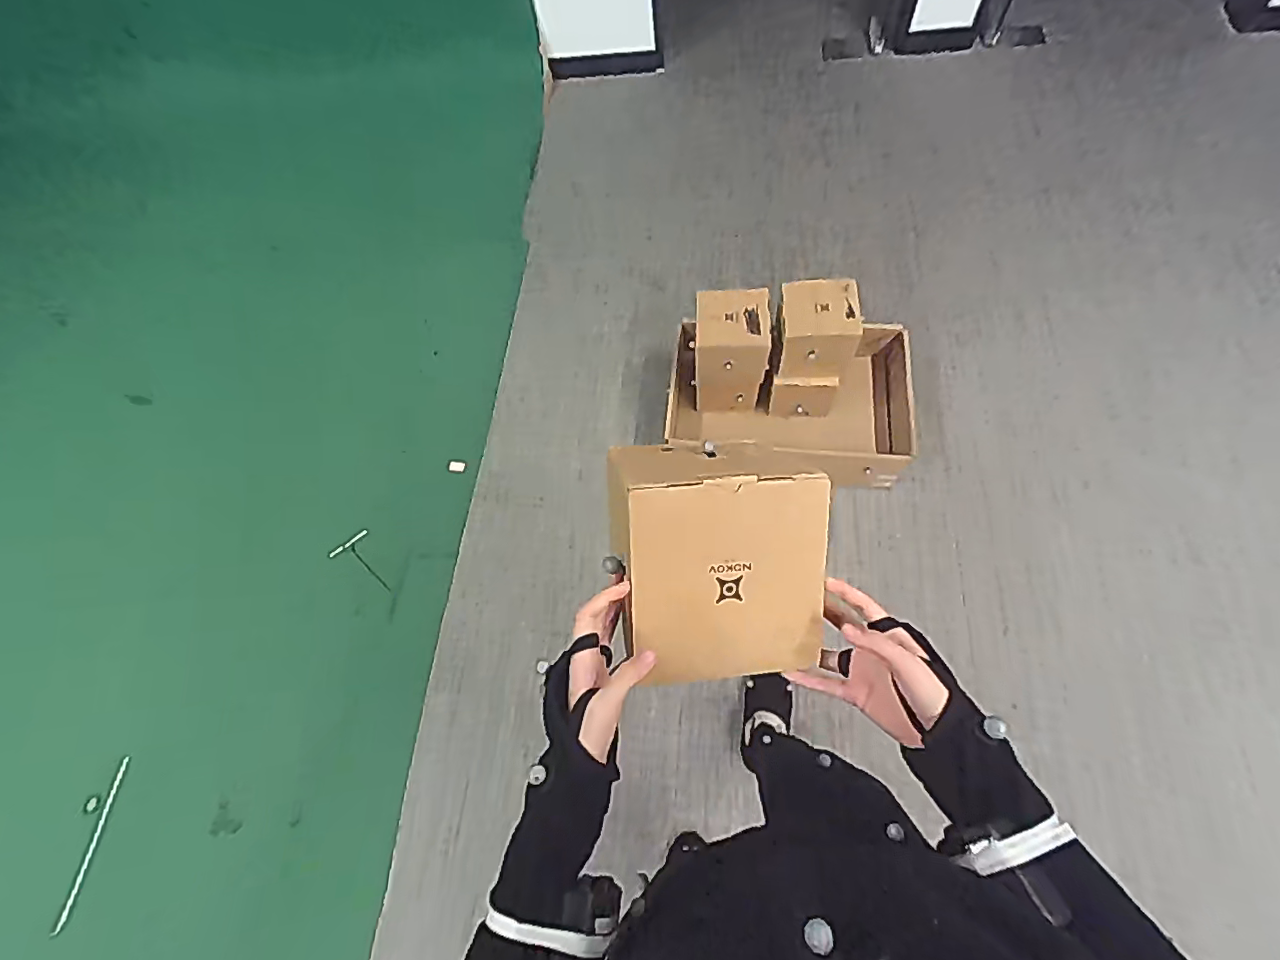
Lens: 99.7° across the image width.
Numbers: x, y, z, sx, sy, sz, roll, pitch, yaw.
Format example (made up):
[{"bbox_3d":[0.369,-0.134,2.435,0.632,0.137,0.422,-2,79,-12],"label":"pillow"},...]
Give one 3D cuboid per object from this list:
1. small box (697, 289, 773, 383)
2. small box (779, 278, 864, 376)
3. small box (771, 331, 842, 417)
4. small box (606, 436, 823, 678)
[{"bbox_3d":[0.232,-0.354,1.353,0.179,0.176,0.168,0,69,8],"label":"small box"},{"bbox_3d":[0.437,-0.370,1.332,0.179,0.176,0.168,-1,68,9],"label":"small box"},{"bbox_3d":[0.450,-0.292,1.477,0.168,0.176,0.179,3,69,11],"label":"small box"},{"bbox_3d":[0.058,0.060,0.519,0.168,0.176,0.179,-4,103,-7],"label":"small box"}]
